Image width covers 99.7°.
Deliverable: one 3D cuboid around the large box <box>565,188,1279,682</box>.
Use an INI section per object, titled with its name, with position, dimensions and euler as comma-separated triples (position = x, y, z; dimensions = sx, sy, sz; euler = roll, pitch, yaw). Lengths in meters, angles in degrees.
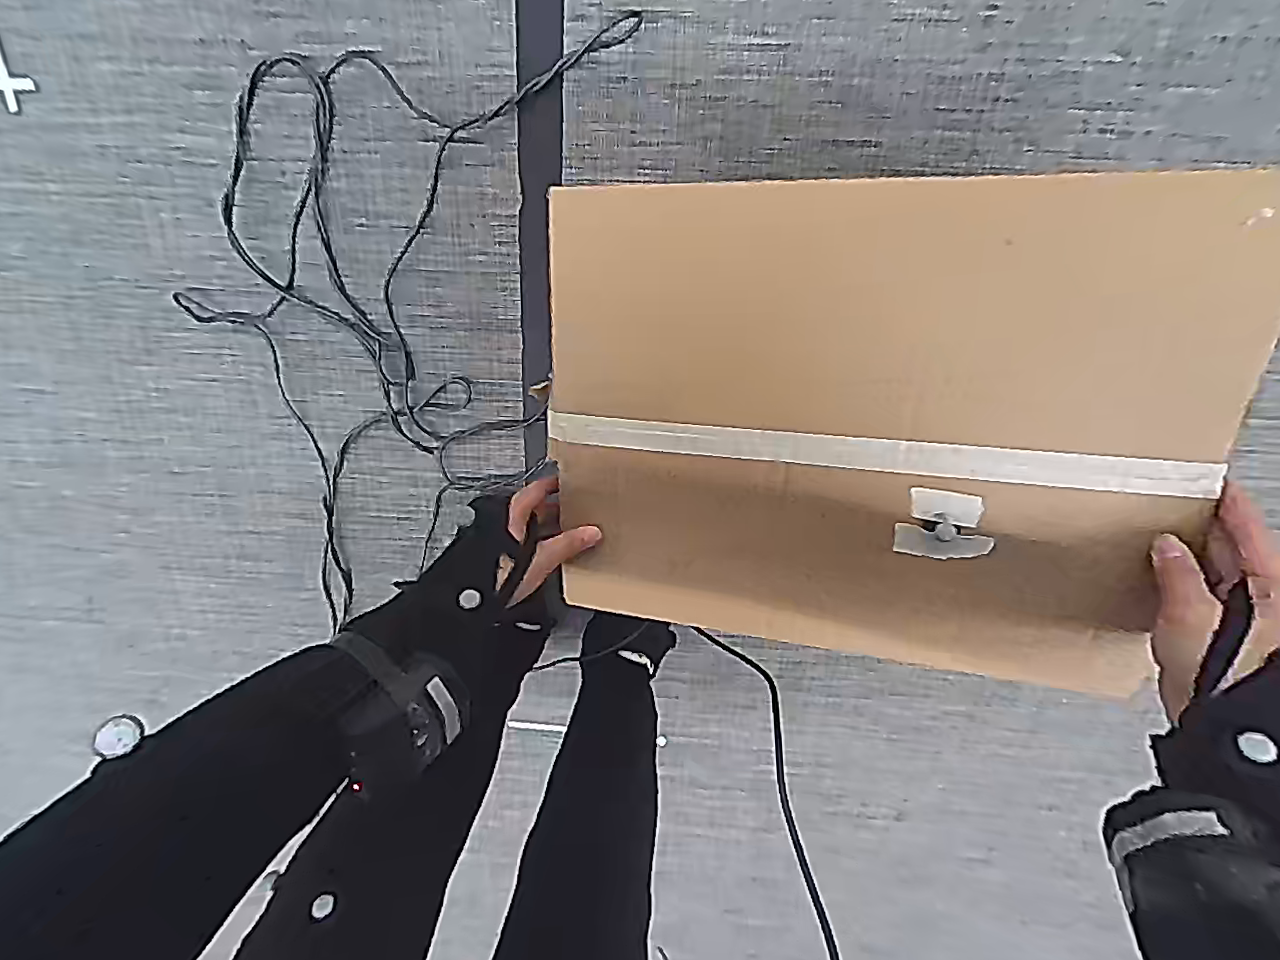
[large box]
position = 0.174, -0.066, 0.501
dimensions = 0.408, 0.320, 0.320
euler = 5, 111, 12
